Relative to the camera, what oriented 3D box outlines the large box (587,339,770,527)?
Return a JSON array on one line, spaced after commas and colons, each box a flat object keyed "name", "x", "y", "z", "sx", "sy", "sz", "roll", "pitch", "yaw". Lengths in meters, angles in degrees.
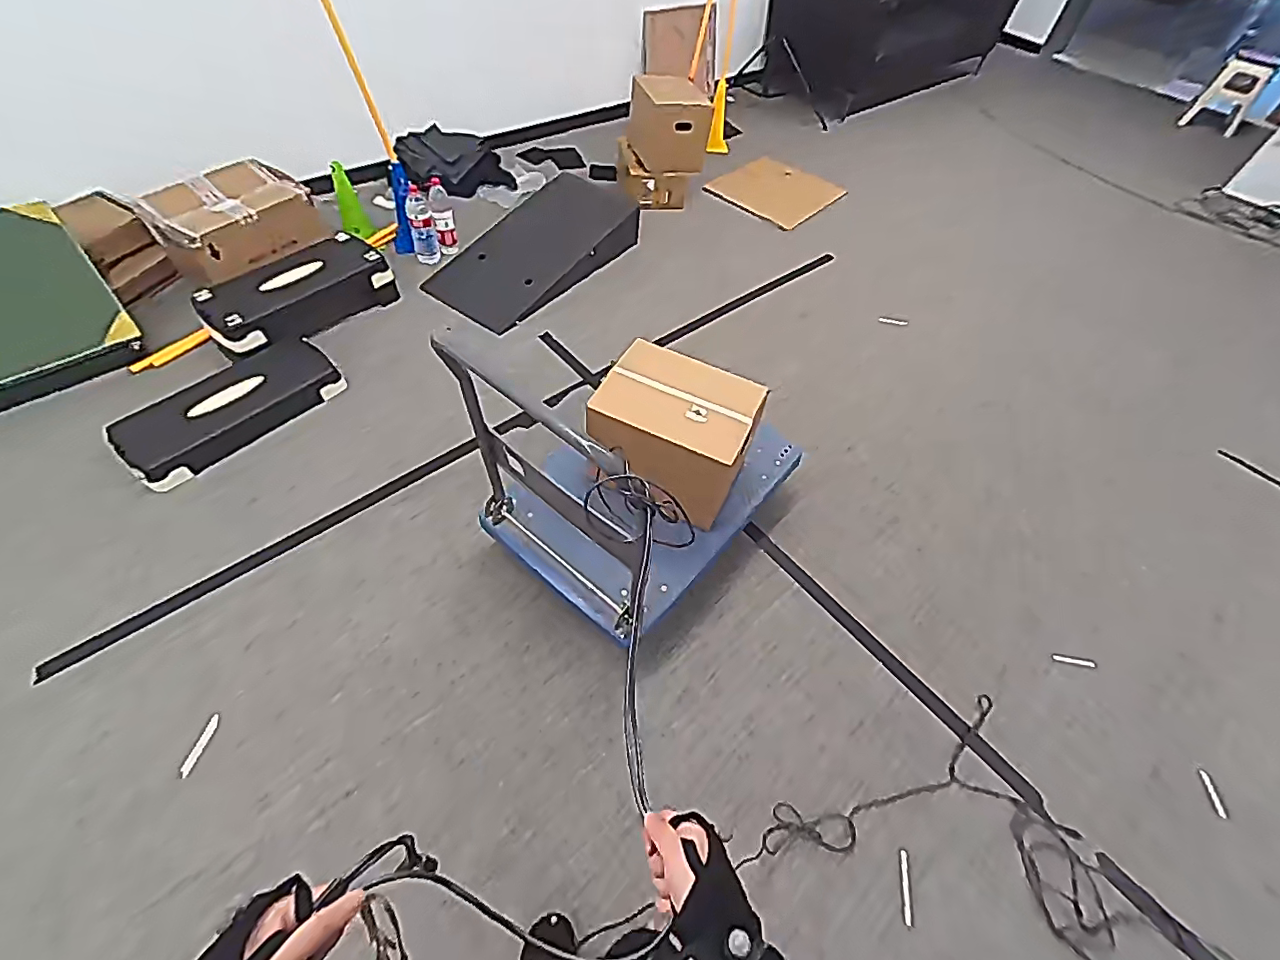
[{"name": "large box", "x": 0.095, "y": -0.132, "z": 1.532, "sx": 0.408, "sy": 0.320, "sz": 0.320, "roll": 24, "pitch": 56, "yaw": 11}]
